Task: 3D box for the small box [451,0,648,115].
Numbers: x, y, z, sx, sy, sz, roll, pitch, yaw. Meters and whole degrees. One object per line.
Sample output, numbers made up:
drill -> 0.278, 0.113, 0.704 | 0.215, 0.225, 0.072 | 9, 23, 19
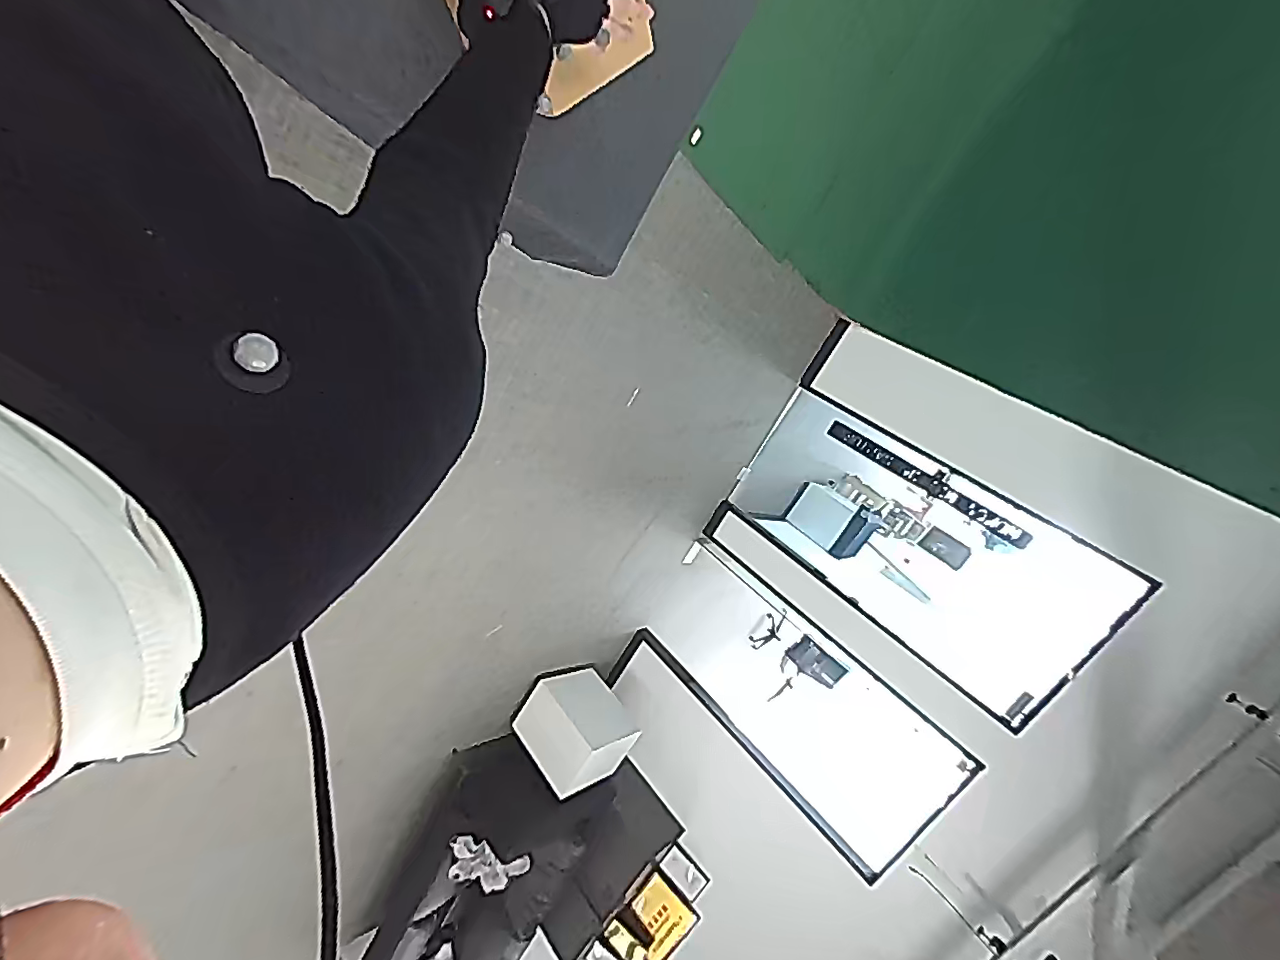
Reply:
small box -> -0.121, -0.589, 0.664 | 0.179, 0.176, 0.168 | -40, 147, -13
